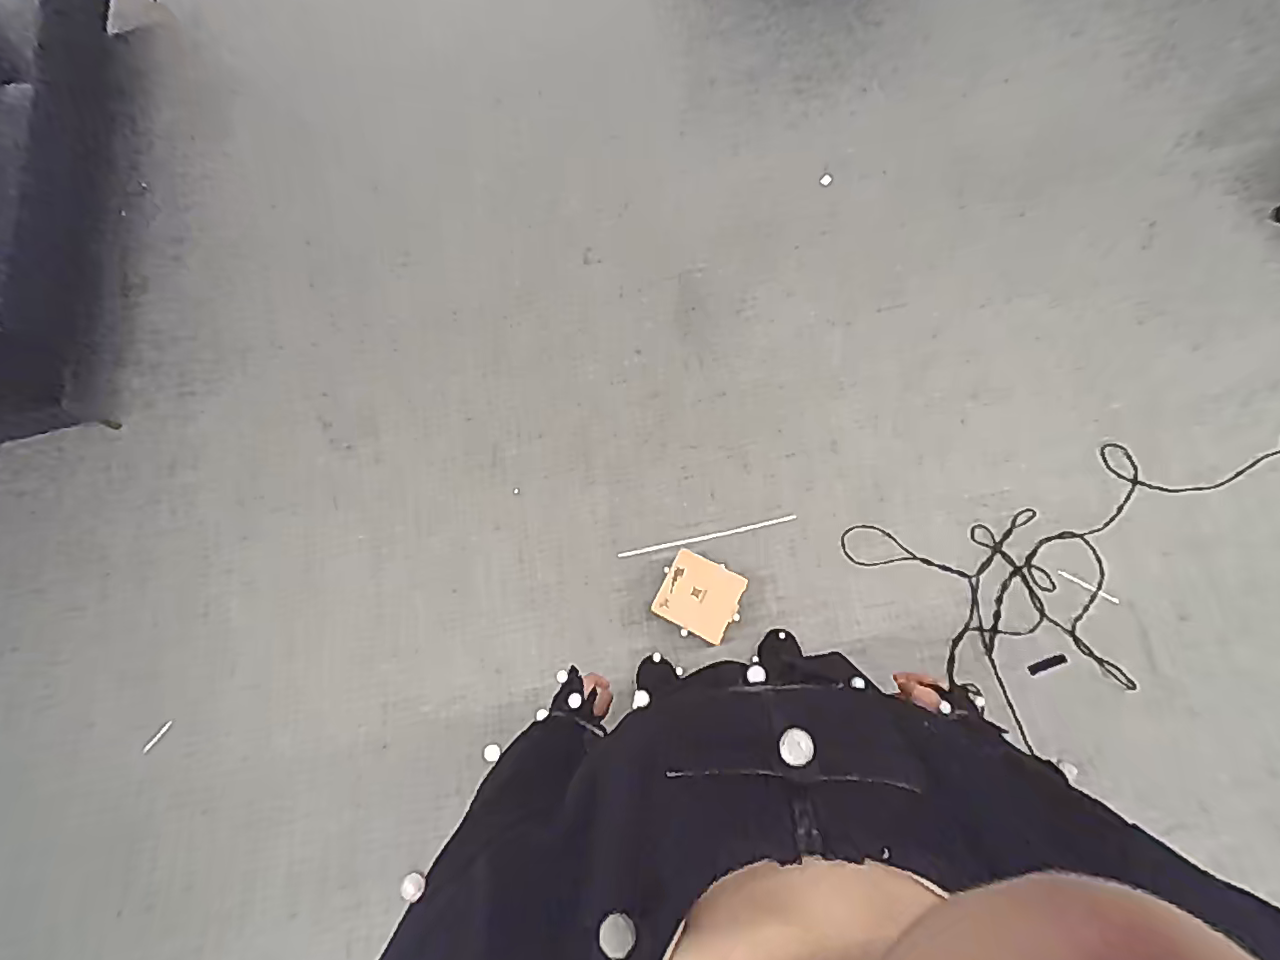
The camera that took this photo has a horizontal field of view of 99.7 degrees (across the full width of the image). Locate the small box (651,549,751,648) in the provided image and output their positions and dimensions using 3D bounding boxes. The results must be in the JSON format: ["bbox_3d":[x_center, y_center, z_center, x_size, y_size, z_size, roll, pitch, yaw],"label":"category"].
[{"bbox_3d":[0.148,0.285,1.294,0.179,0.176,0.168,26,78,14],"label":"small box"}]
